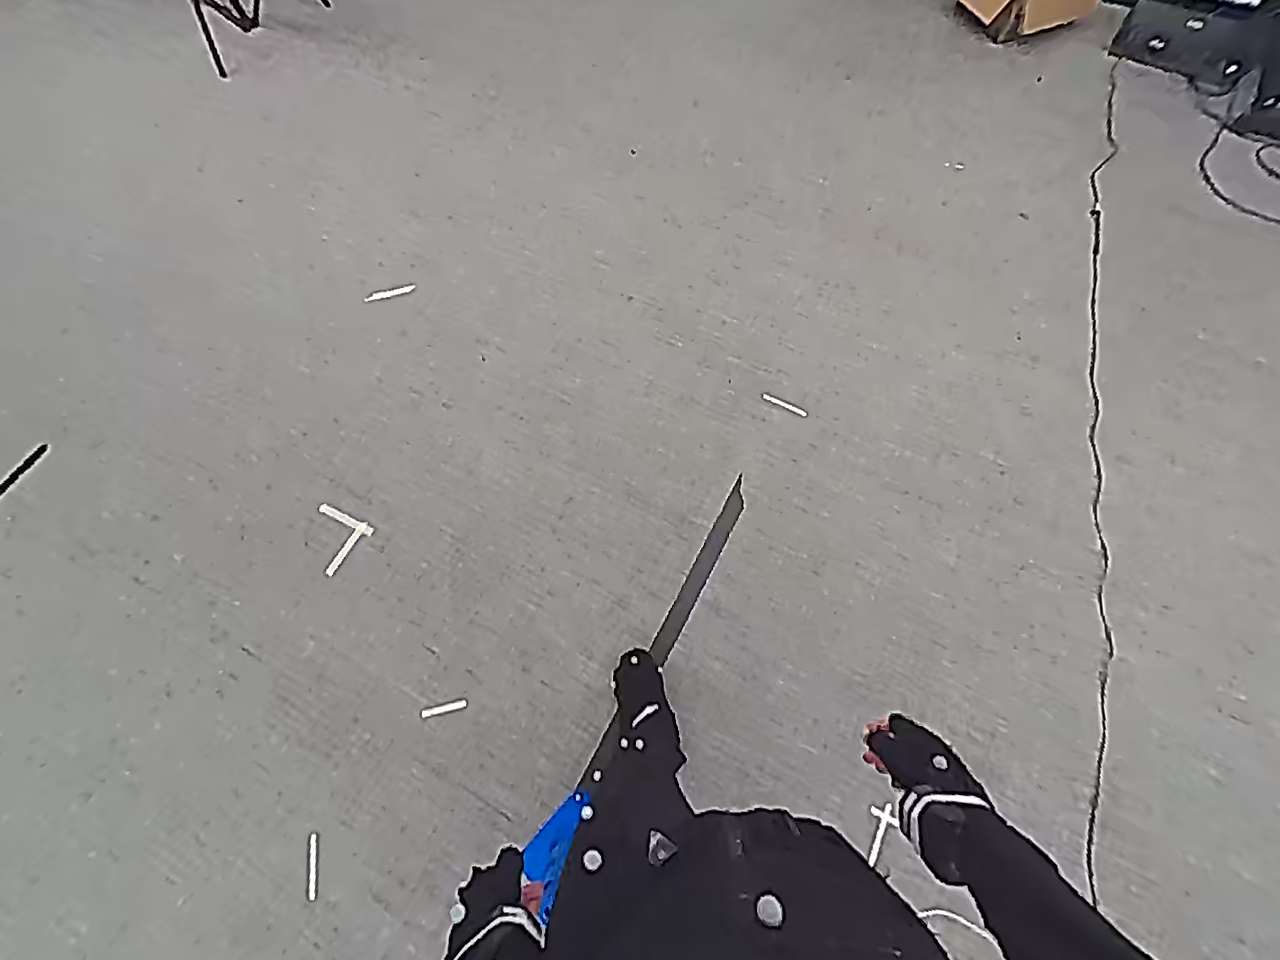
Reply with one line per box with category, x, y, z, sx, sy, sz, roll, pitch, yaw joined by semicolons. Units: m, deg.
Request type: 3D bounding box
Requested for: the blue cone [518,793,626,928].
blue cone;-0.149;0.748;1.011;0.192;0.380;0.193;42;73;18
